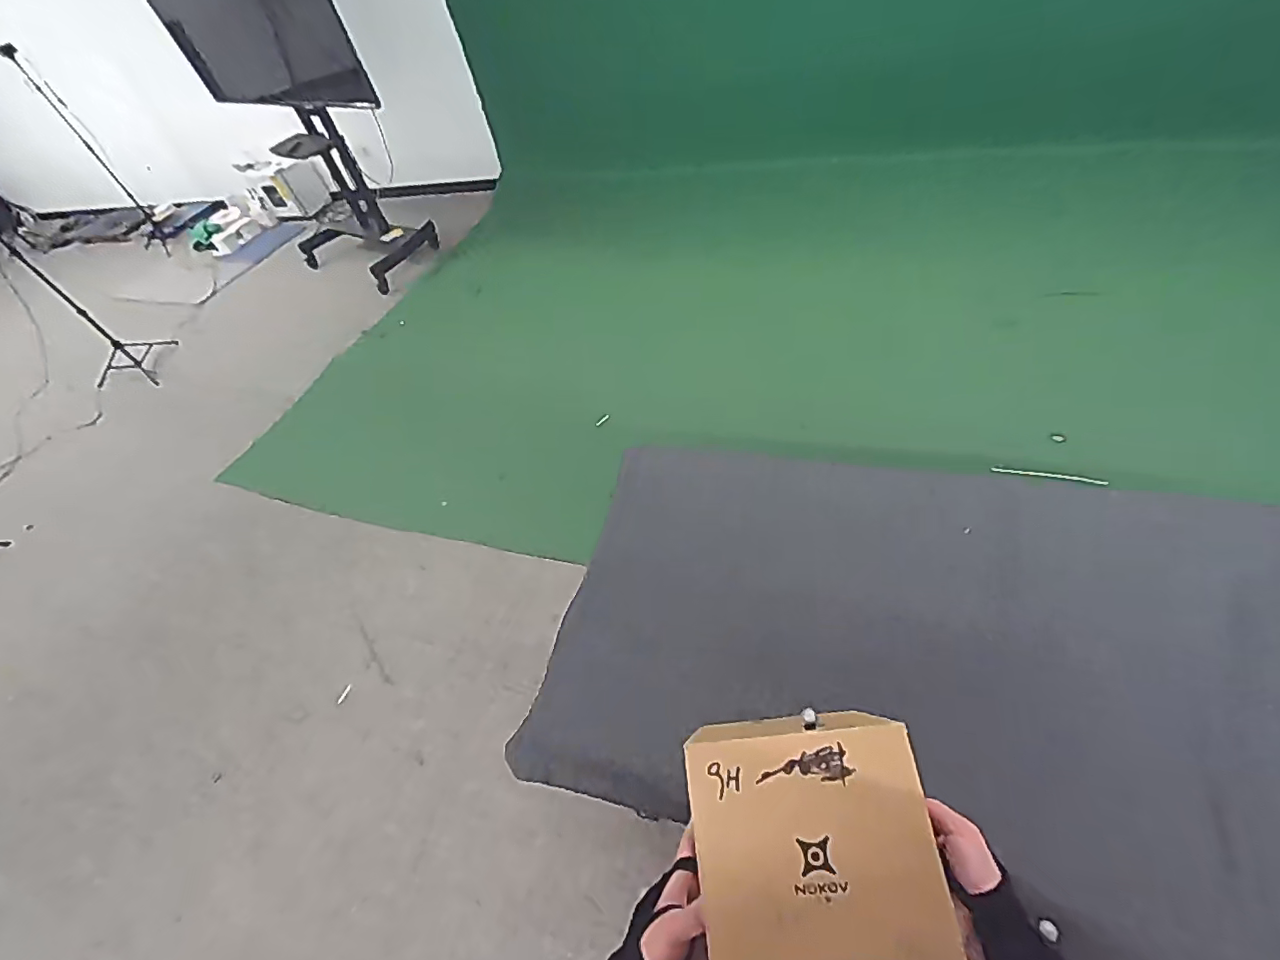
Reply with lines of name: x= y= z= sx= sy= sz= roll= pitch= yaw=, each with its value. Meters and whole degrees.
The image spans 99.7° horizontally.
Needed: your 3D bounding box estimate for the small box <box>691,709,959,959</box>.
small box: x=0.141 y=0.302 z=0.461 sx=0.168 sy=0.176 sz=0.179 roll=-9 pitch=70 yaw=7
